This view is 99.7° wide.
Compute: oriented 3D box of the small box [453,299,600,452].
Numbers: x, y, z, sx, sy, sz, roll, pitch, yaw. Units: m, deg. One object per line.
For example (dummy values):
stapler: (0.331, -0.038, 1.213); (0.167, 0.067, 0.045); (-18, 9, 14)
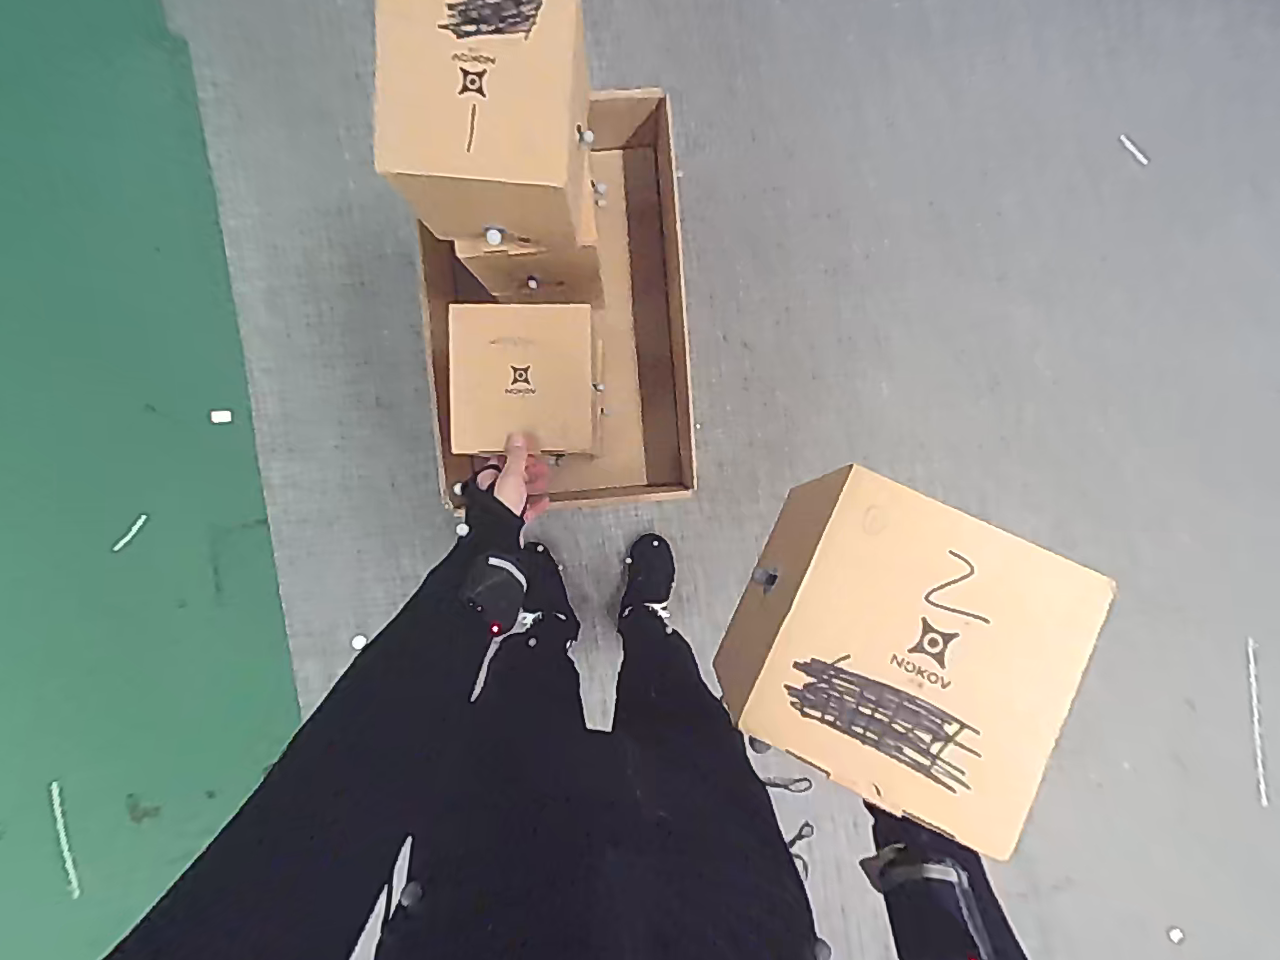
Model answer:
small box: (-0.139, -0.126, 0.713); (0.168, 0.176, 0.179); (0, 91, -2)

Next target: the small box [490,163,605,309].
small box: (-0.146, -0.379, 0.866); (0.168, 0.176, 0.179); (-6, 95, 0)

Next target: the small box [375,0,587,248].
small box: (-0.143, -0.356, 0.541); (0.168, 0.176, 0.179); (3, 95, -2)

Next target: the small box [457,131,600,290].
small box: (-0.143, -0.365, 0.705); (0.168, 0.176, 0.179); (-6, 95, -2)
